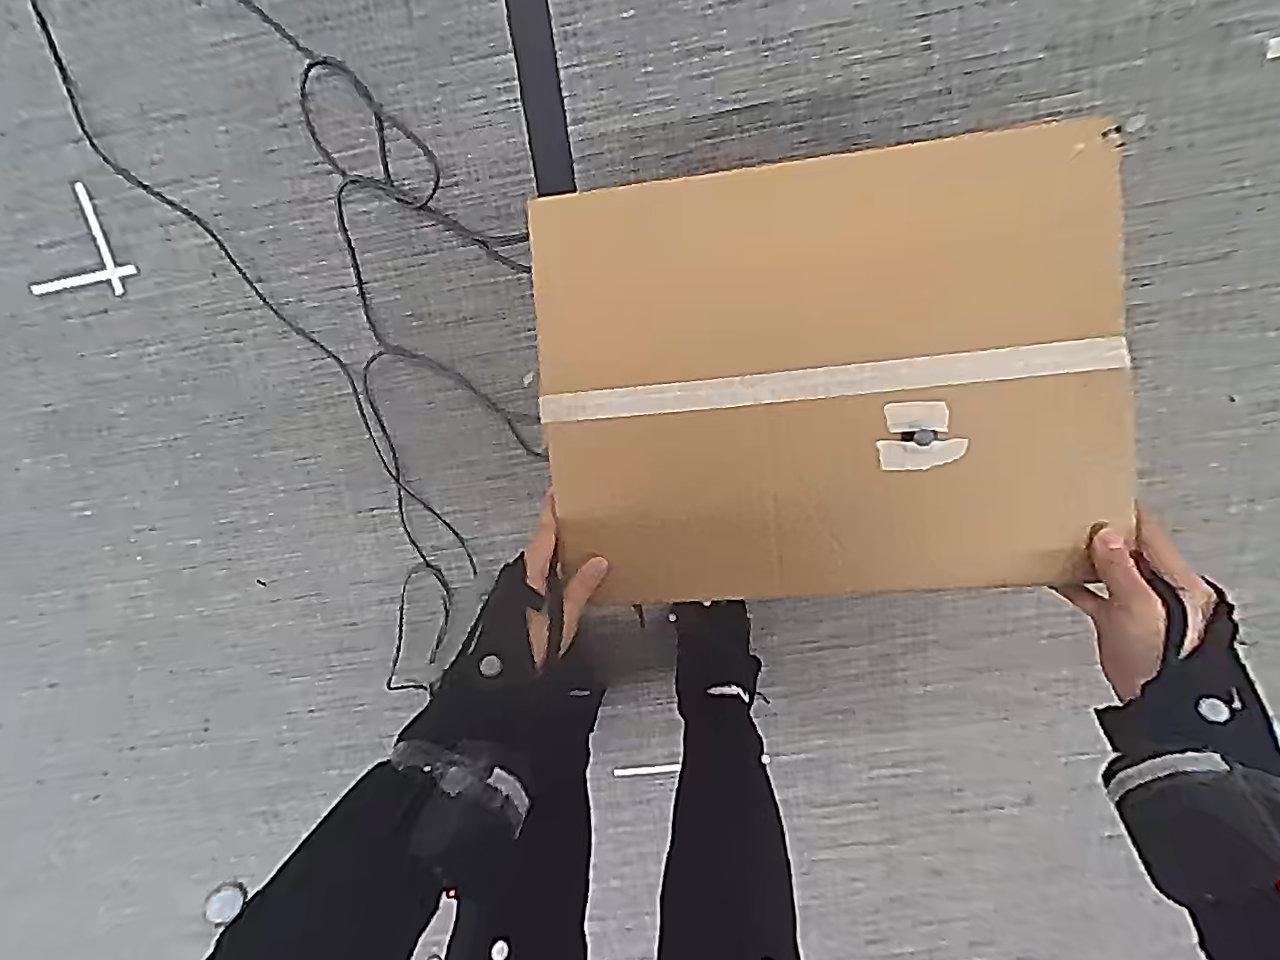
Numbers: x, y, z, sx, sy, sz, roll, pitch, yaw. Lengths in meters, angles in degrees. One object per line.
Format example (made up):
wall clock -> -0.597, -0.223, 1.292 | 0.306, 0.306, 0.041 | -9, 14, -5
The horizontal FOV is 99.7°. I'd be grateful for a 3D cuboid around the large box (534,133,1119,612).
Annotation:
large box -> 0.144, -0.075, 0.545 | 0.408, 0.320, 0.320 | -5, 94, 7
